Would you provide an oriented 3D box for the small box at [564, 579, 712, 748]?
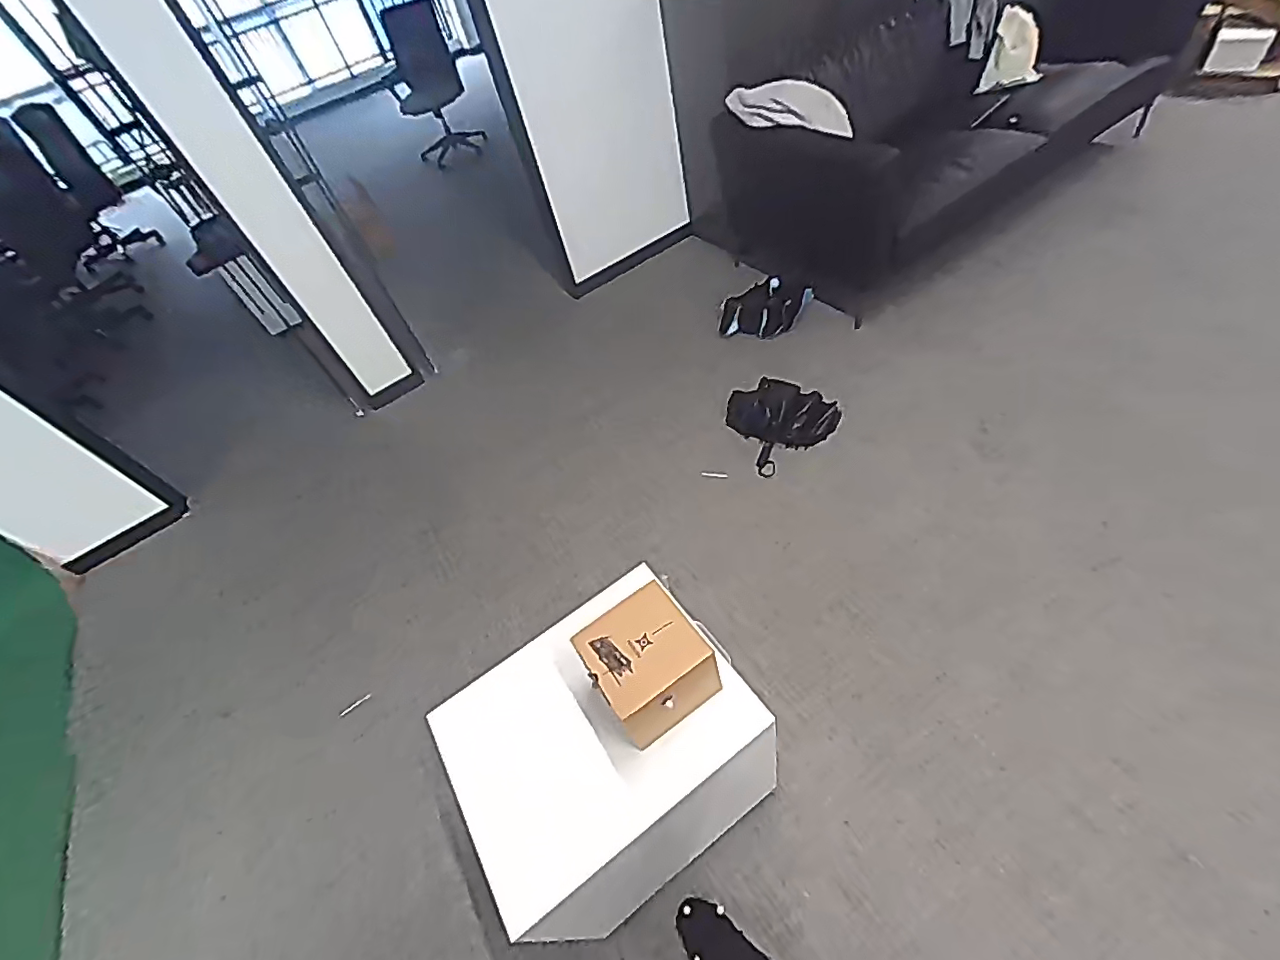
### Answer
[{"bbox_3d":[0.005,0.304,0.887,0.179,0.176,0.168,-32,52,-16],"label":"small box"}]
